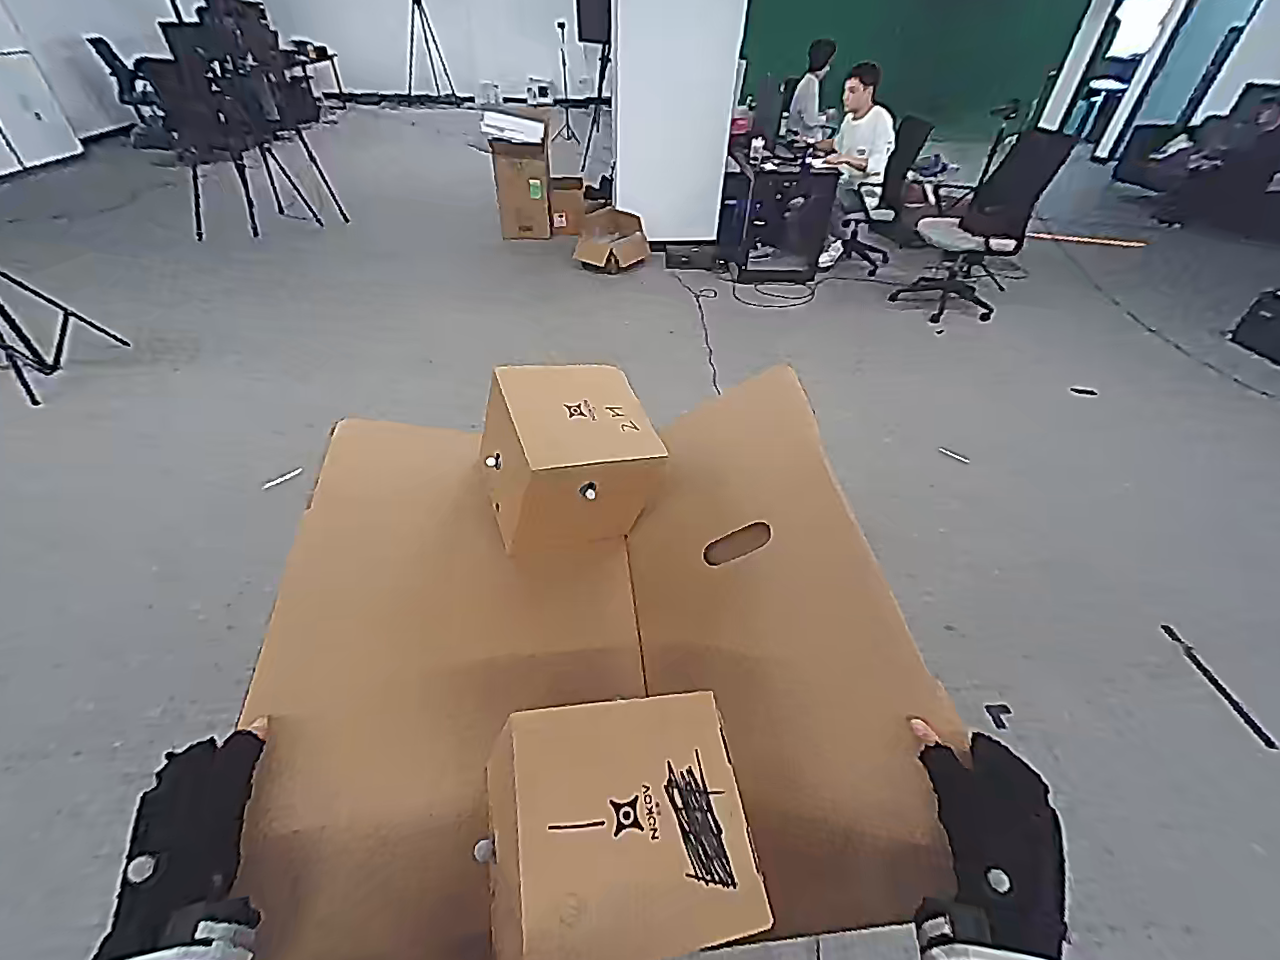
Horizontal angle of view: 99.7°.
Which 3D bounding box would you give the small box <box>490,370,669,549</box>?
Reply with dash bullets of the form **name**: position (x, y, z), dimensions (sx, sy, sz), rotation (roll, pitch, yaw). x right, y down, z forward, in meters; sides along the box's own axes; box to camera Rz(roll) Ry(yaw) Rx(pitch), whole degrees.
- **small box**: position (-0.093, -0.026, 0.710), dimensions (0.179, 0.176, 0.168), rotation (-6, 54, -29)
